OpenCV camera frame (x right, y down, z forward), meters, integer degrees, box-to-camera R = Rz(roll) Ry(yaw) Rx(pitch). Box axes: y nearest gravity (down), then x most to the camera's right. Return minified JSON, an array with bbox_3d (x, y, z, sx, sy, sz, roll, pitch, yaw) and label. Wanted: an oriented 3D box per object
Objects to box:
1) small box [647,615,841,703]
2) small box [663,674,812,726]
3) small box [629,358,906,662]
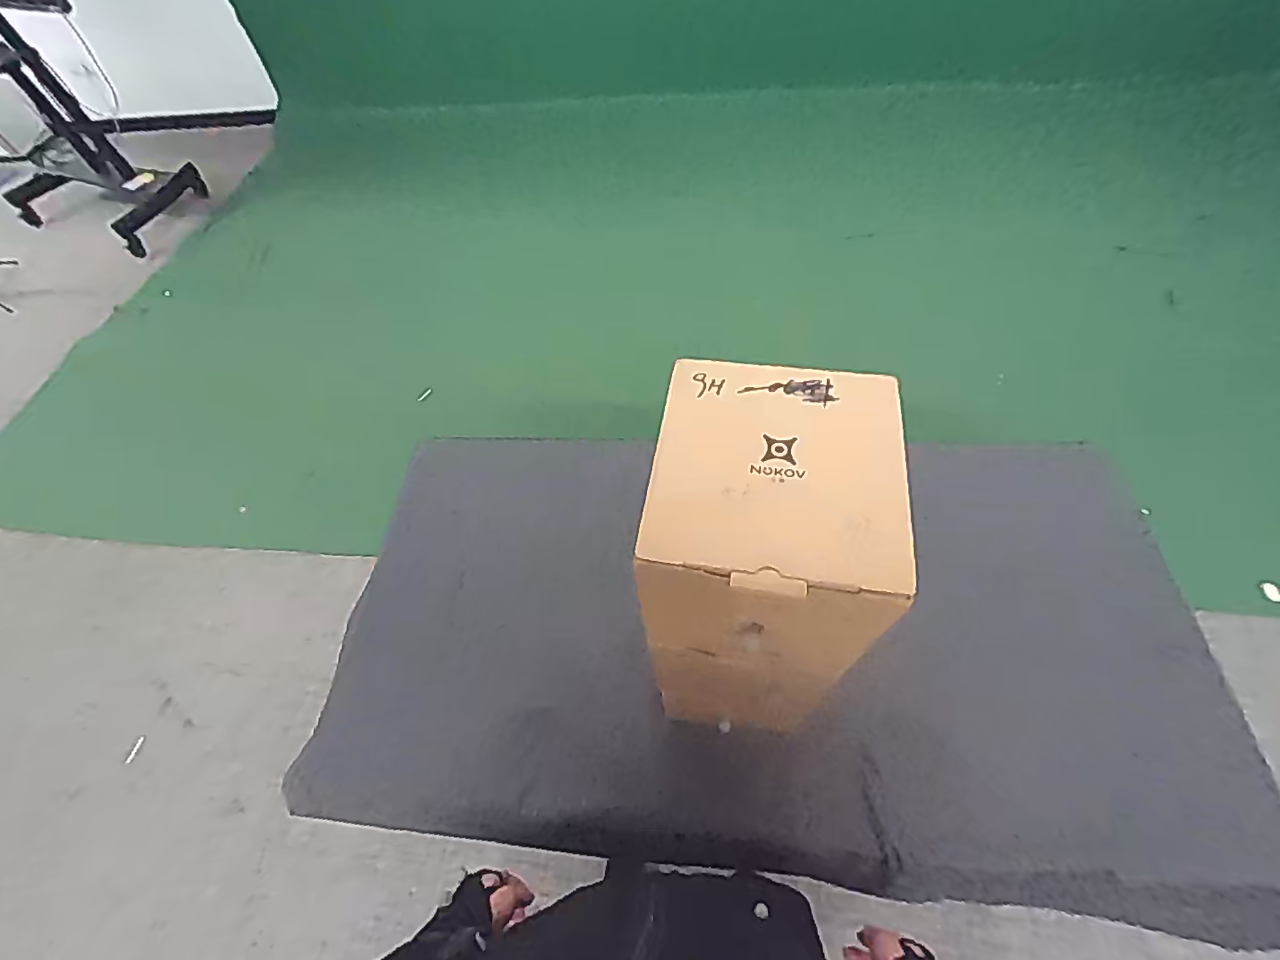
[{"bbox_3d":[0.106,0.119,0.564,0.168,0.176,0.179,6,57,8],"label":"small box"},{"bbox_3d":[0.121,0.204,0.700,0.168,0.176,0.179,3,58,8],"label":"small box"},{"bbox_3d":[0.095,0.031,0.427,0.168,0.176,0.179,7,59,10],"label":"small box"}]
